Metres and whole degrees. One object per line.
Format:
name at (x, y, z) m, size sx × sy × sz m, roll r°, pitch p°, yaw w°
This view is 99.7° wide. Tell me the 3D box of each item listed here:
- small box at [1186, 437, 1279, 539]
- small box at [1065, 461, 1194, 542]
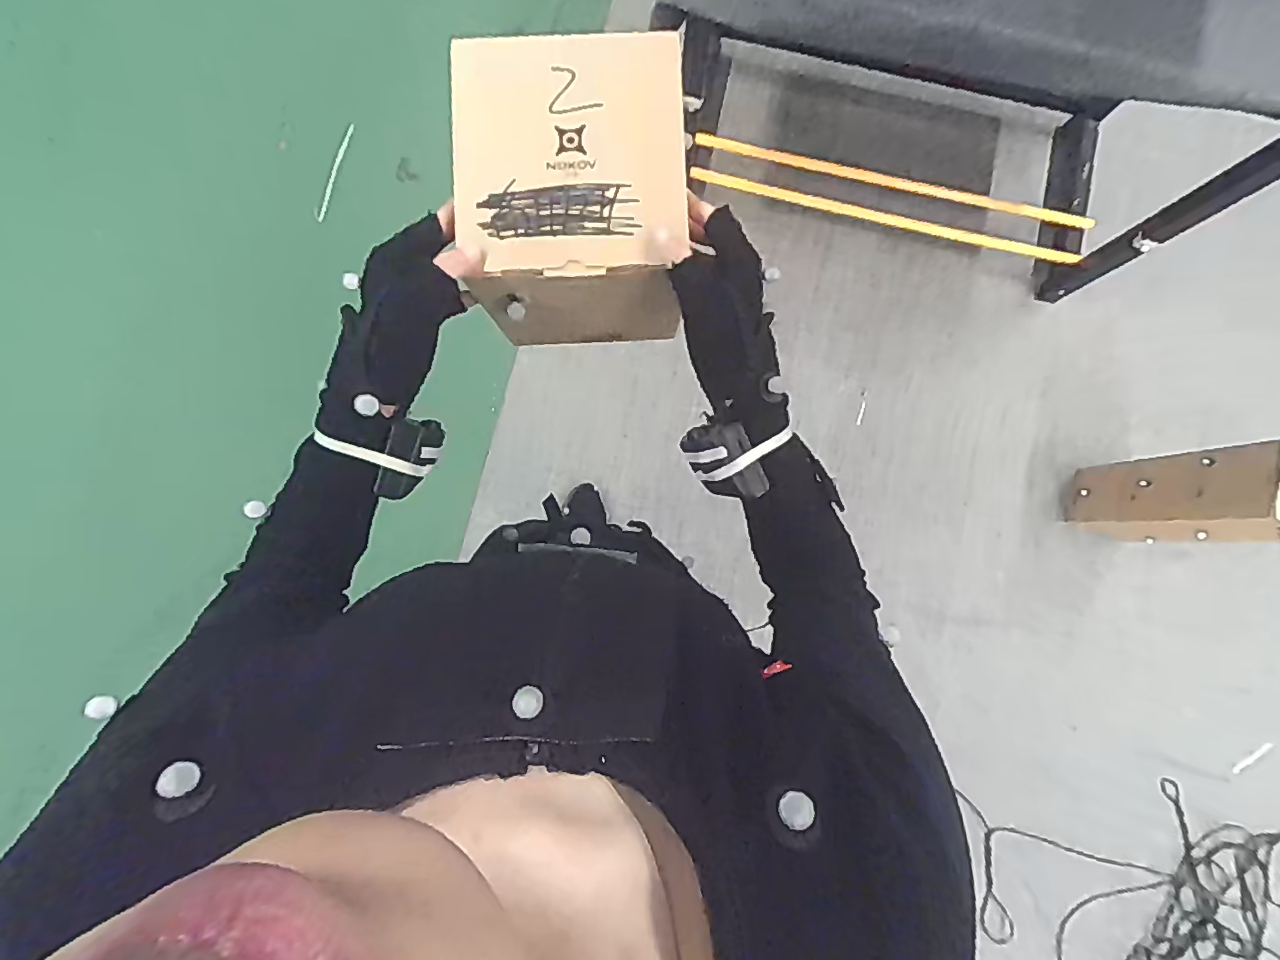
small box at (1.304, 0.024, 1.119) m, size 0.179 × 0.176 × 0.168 m, roll 16°, pitch 85°, yaw 1°
small box at (1.298, 0.060, 1.444) m, size 0.179 × 0.176 × 0.168 m, roll 18°, pitch 83°, yaw 1°
